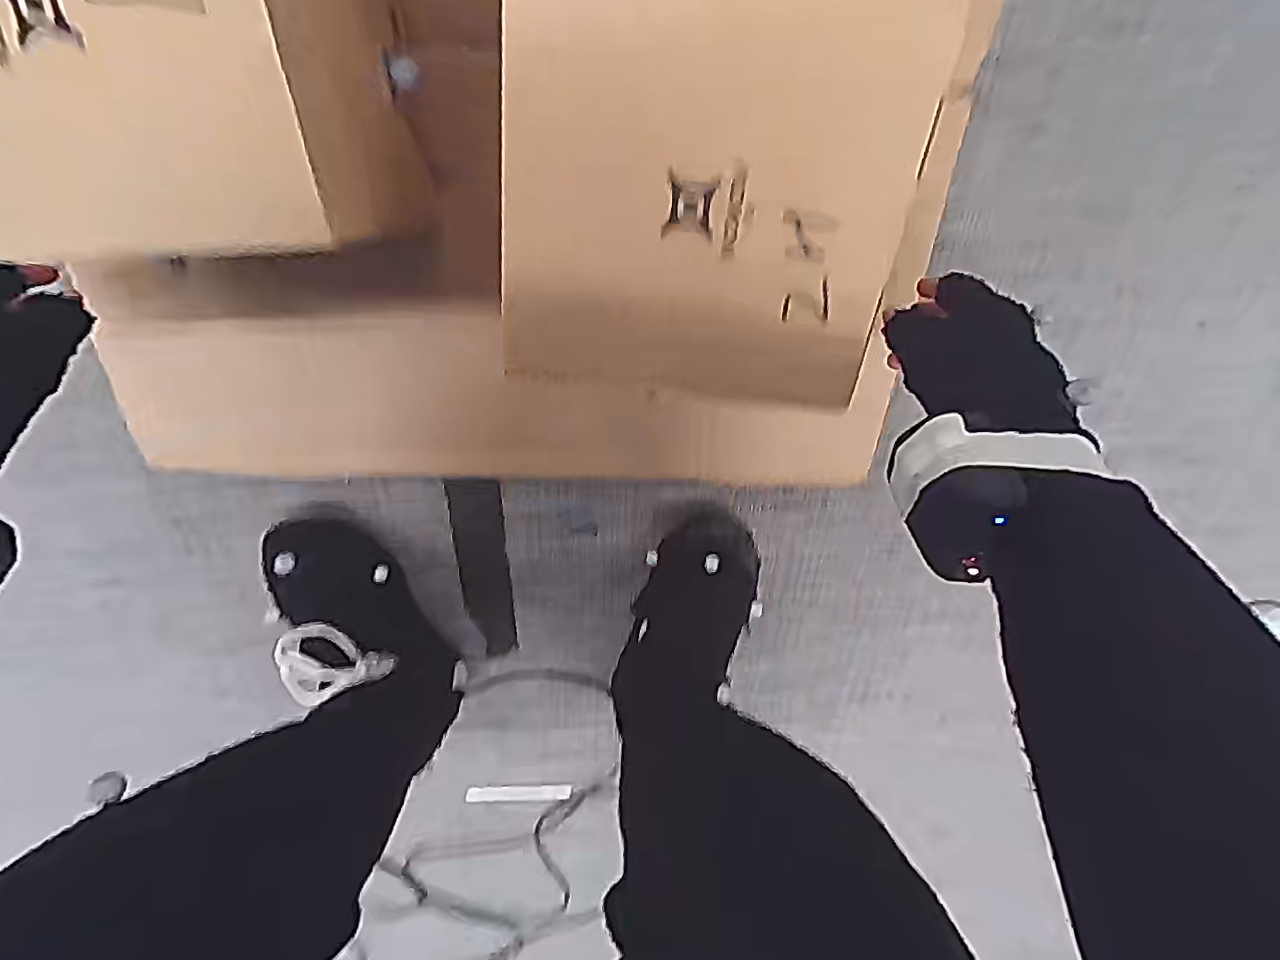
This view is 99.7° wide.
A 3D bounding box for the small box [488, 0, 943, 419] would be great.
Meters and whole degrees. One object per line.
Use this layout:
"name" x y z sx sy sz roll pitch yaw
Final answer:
"small box" 0.020 -0.149 0.308 0.179 0.176 0.168 5 117 -6
